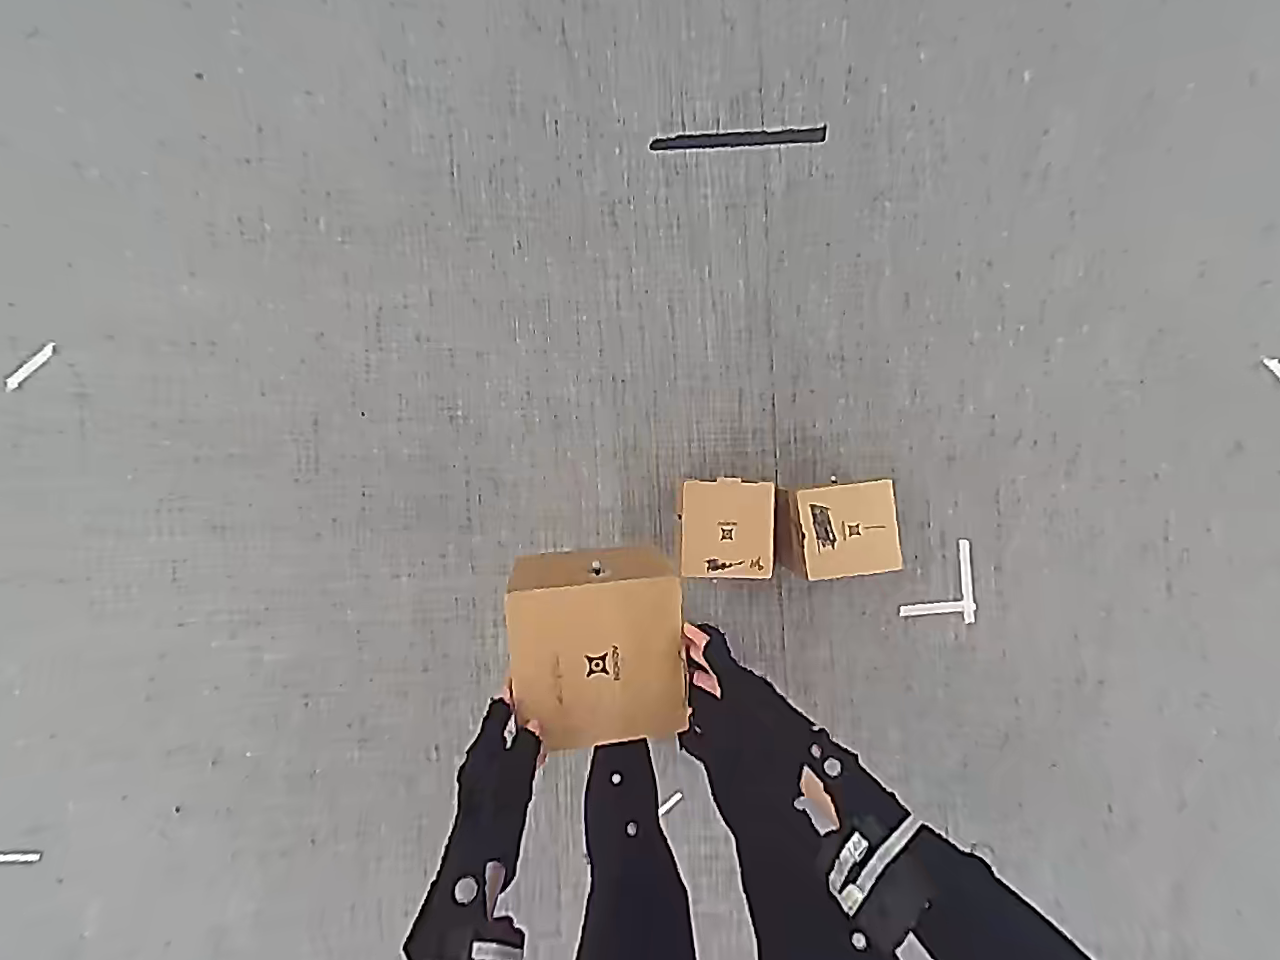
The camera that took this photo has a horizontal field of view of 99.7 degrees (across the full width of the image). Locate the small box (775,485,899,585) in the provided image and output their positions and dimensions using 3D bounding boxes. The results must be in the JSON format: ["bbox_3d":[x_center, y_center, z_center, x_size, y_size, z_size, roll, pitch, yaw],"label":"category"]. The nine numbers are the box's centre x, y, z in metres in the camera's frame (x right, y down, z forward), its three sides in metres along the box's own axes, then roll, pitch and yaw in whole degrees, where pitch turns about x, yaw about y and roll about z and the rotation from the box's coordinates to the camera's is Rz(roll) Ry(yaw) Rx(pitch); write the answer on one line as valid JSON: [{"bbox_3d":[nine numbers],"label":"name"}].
[{"bbox_3d":[0.367,0.099,1.042,0.179,0.176,0.168,-6,90,-1],"label":"small box"}]

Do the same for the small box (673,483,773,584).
[{"bbox_3d":[0.152,0.097,1.041,0.168,0.176,0.179,2,89,0],"label":"small box"}]

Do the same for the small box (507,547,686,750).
[{"bbox_3d":[-0.054,0.177,0.623,0.179,0.176,0.168,-4,94,-9],"label":"small box"}]
